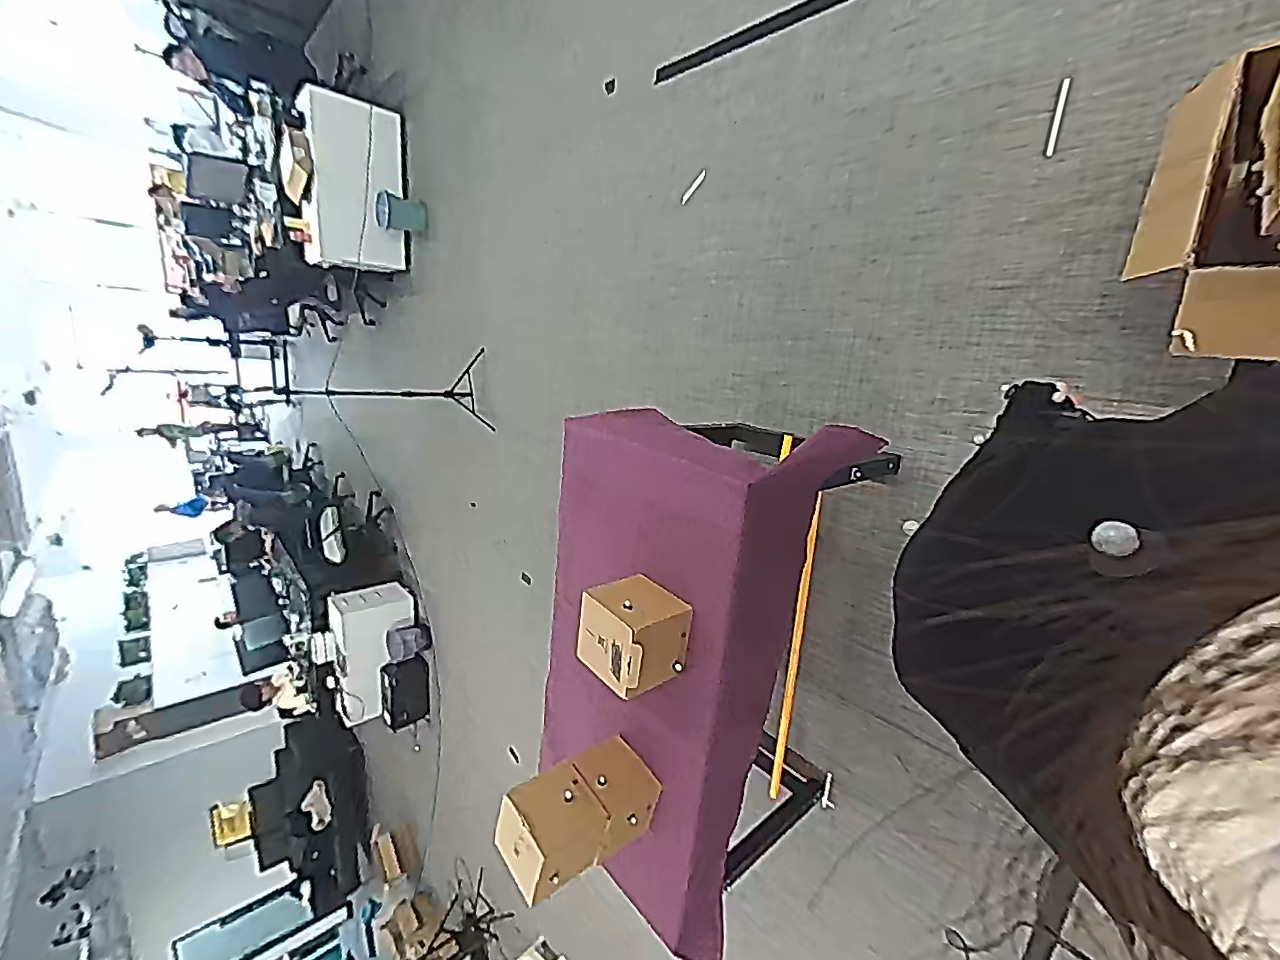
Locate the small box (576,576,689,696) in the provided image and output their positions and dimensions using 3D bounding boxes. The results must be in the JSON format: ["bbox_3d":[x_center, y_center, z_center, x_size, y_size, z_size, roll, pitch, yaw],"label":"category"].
[{"bbox_3d":[-0.016,0.324,1.170,0.179,0.176,0.168,25,114,45],"label":"small box"}]

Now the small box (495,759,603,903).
[{"bbox_3d":[-0.202,0.772,1.205,0.168,0.176,0.179,35,120,39],"label":"small box"}]

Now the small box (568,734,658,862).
[{"bbox_3d":[-0.080,0.761,1.315,0.179,0.176,0.168,34,120,40],"label":"small box"}]

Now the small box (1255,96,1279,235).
[{"bbox_3d":[0.989,-0.463,0.743,0.179,0.176,0.168,-11,90,45],"label":"small box"}]
